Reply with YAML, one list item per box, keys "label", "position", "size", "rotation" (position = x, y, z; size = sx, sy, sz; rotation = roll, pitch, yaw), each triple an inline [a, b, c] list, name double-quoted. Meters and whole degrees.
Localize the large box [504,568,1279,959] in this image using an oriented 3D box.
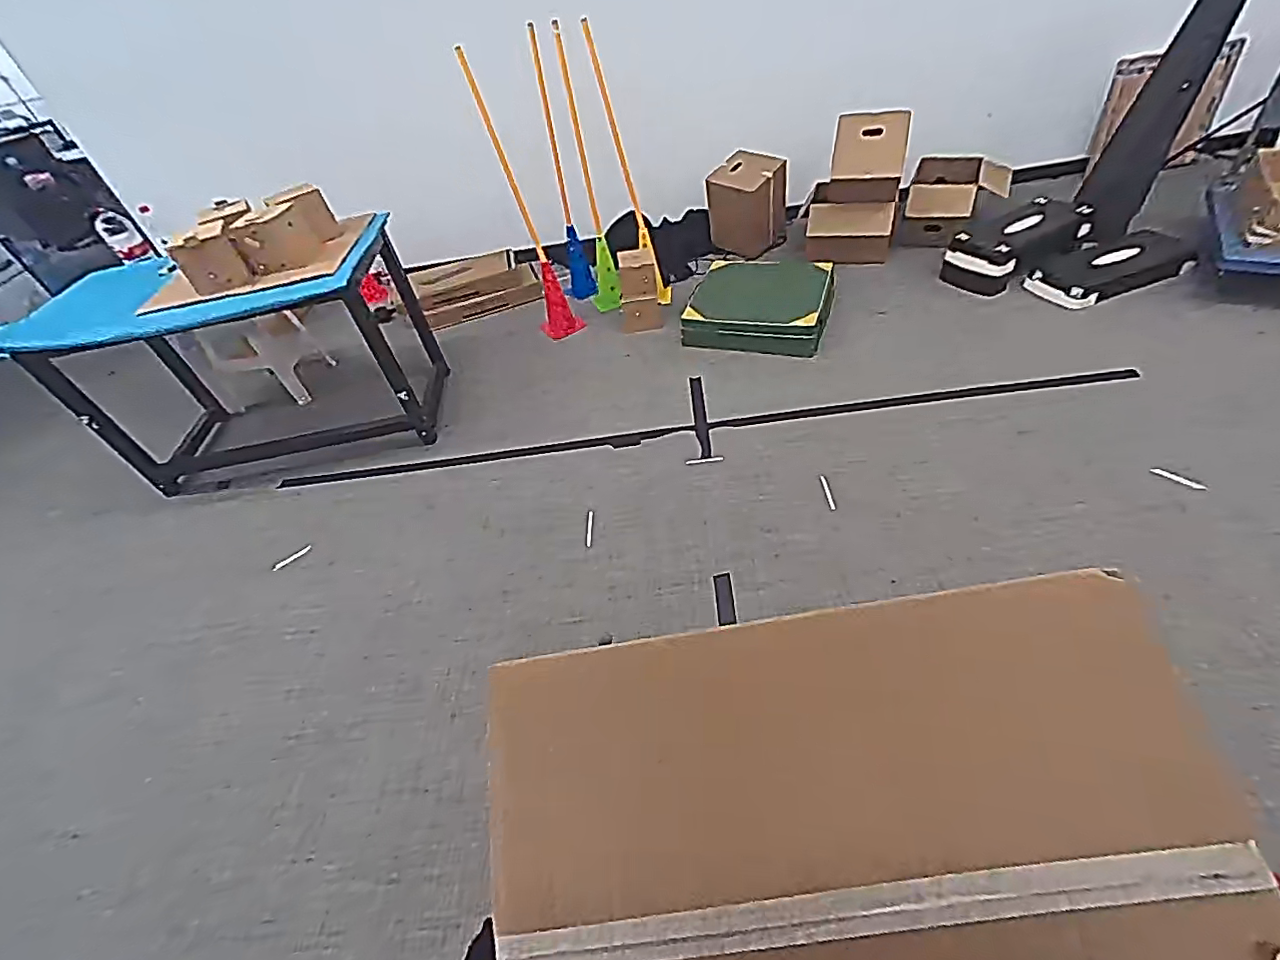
- label: "large box"
  position: [0.140, 0.288, 0.441]
  size: [0.408, 0.320, 0.320]
  rotation: [-11, 68, 4]
